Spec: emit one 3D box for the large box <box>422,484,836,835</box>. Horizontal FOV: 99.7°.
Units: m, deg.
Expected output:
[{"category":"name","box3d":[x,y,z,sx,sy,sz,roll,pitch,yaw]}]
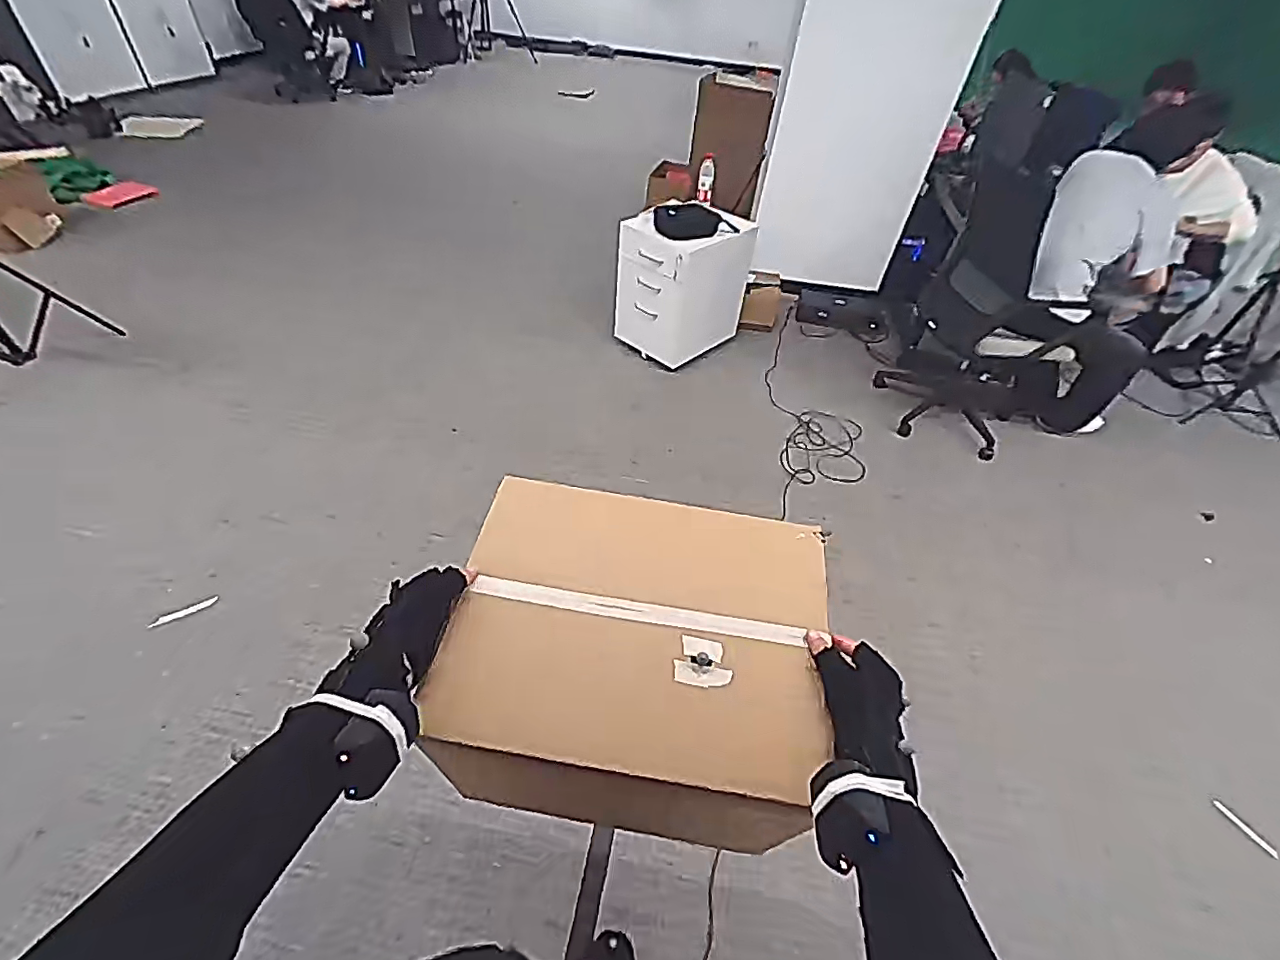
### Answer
[{"category":"large box","box3d":[-0.008,0.241,0.714,0.408,0.320,0.320,9,50,2]}]
